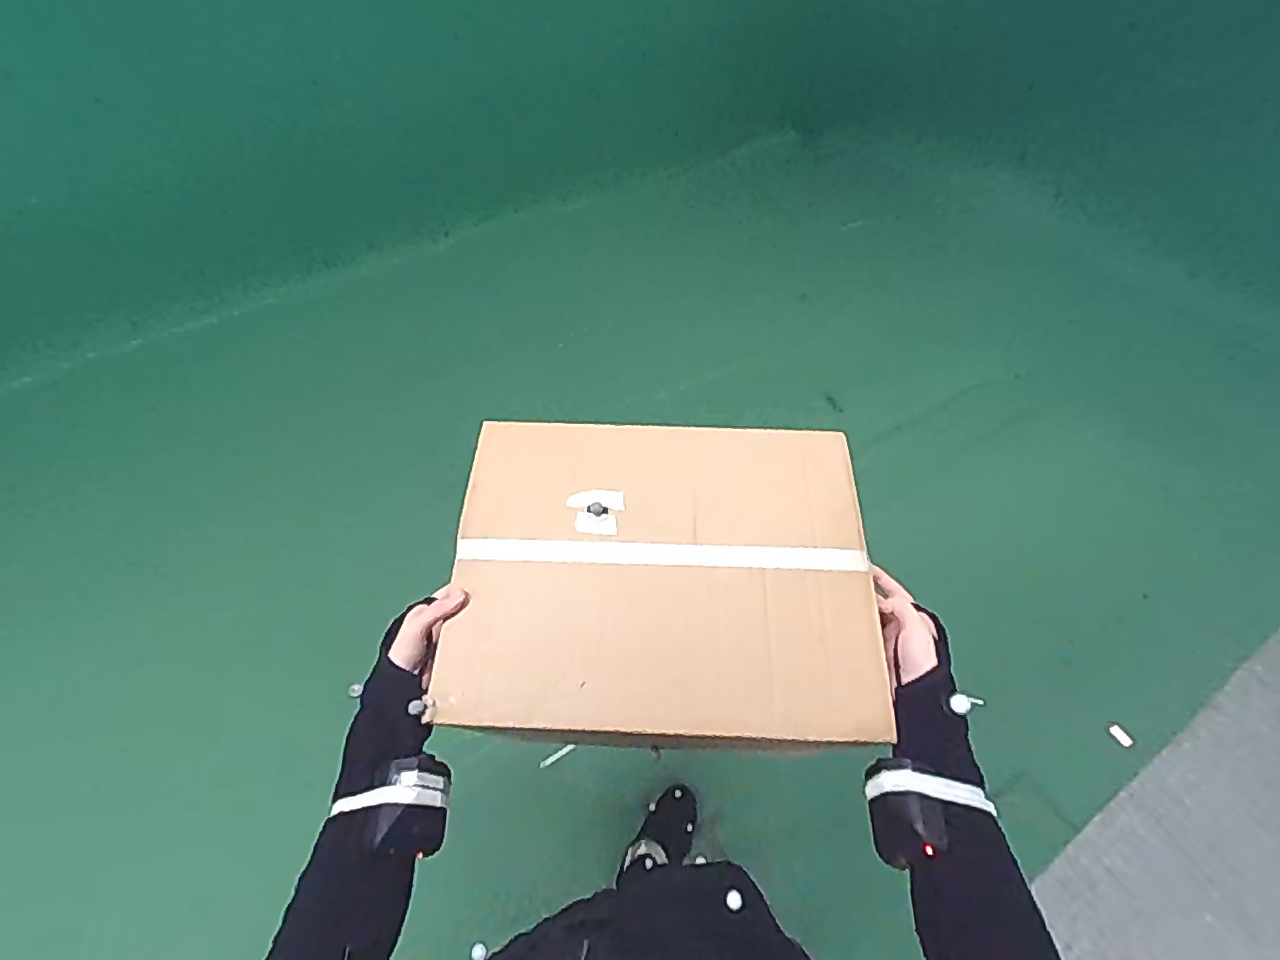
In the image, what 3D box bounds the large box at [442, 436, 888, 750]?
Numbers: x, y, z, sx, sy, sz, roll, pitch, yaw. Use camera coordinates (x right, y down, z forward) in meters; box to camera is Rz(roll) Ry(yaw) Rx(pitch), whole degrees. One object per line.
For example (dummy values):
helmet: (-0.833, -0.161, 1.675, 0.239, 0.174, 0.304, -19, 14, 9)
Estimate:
large box: (0.031, 0.157, 0.677, 0.408, 0.320, 0.320, 2, 60, 3)
